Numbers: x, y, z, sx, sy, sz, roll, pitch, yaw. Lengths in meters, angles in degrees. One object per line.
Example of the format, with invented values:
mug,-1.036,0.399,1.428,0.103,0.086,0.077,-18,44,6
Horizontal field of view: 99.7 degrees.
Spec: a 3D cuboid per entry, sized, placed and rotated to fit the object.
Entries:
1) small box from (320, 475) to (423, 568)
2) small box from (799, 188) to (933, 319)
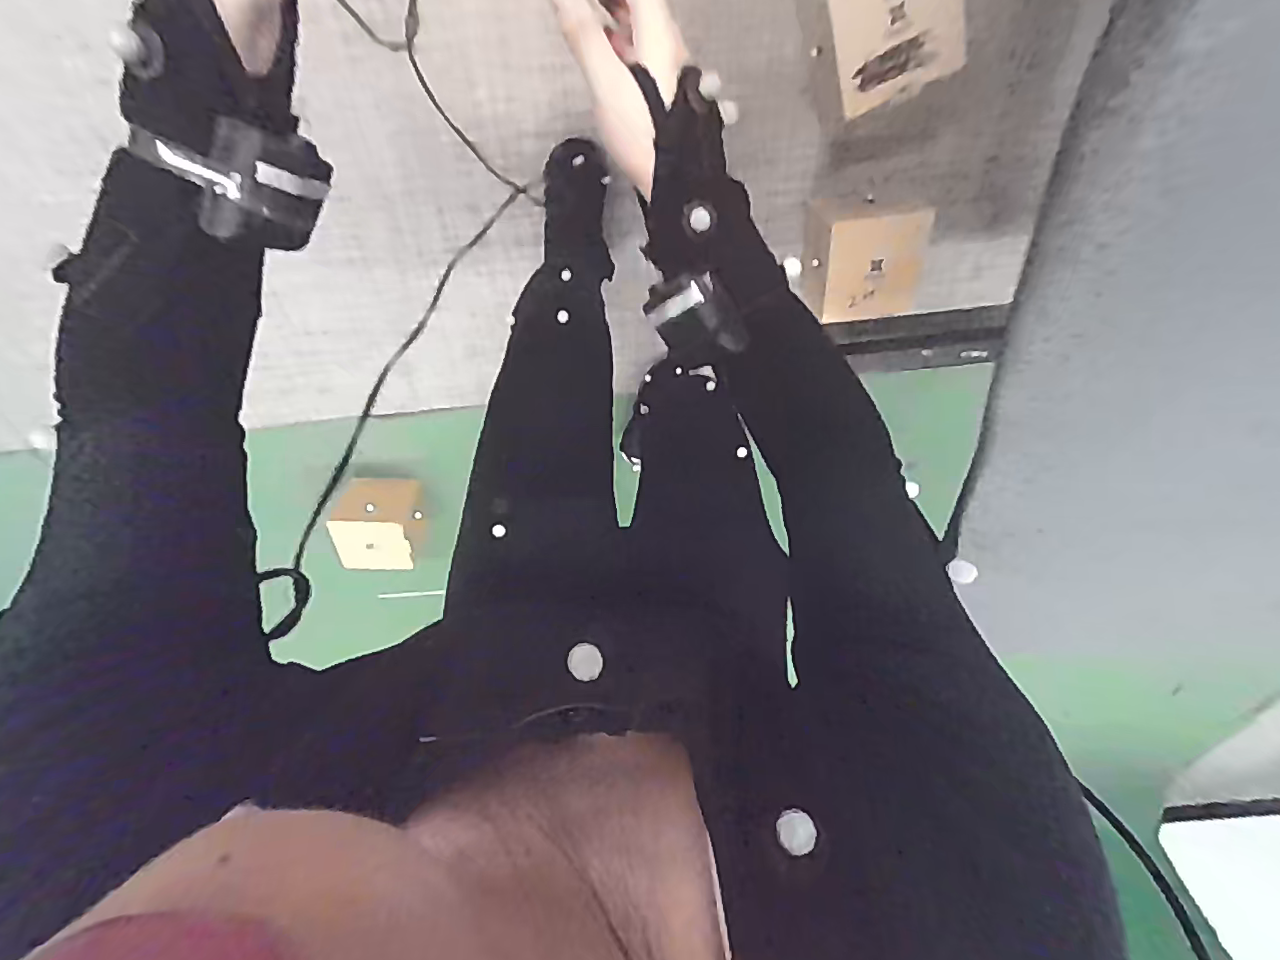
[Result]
small box,-0.663,0.102,1.365,0.179,0.176,0.168,3,129,-3
small box,0.394,-0.414,0.978,0.168,0.176,0.179,-6,130,3
